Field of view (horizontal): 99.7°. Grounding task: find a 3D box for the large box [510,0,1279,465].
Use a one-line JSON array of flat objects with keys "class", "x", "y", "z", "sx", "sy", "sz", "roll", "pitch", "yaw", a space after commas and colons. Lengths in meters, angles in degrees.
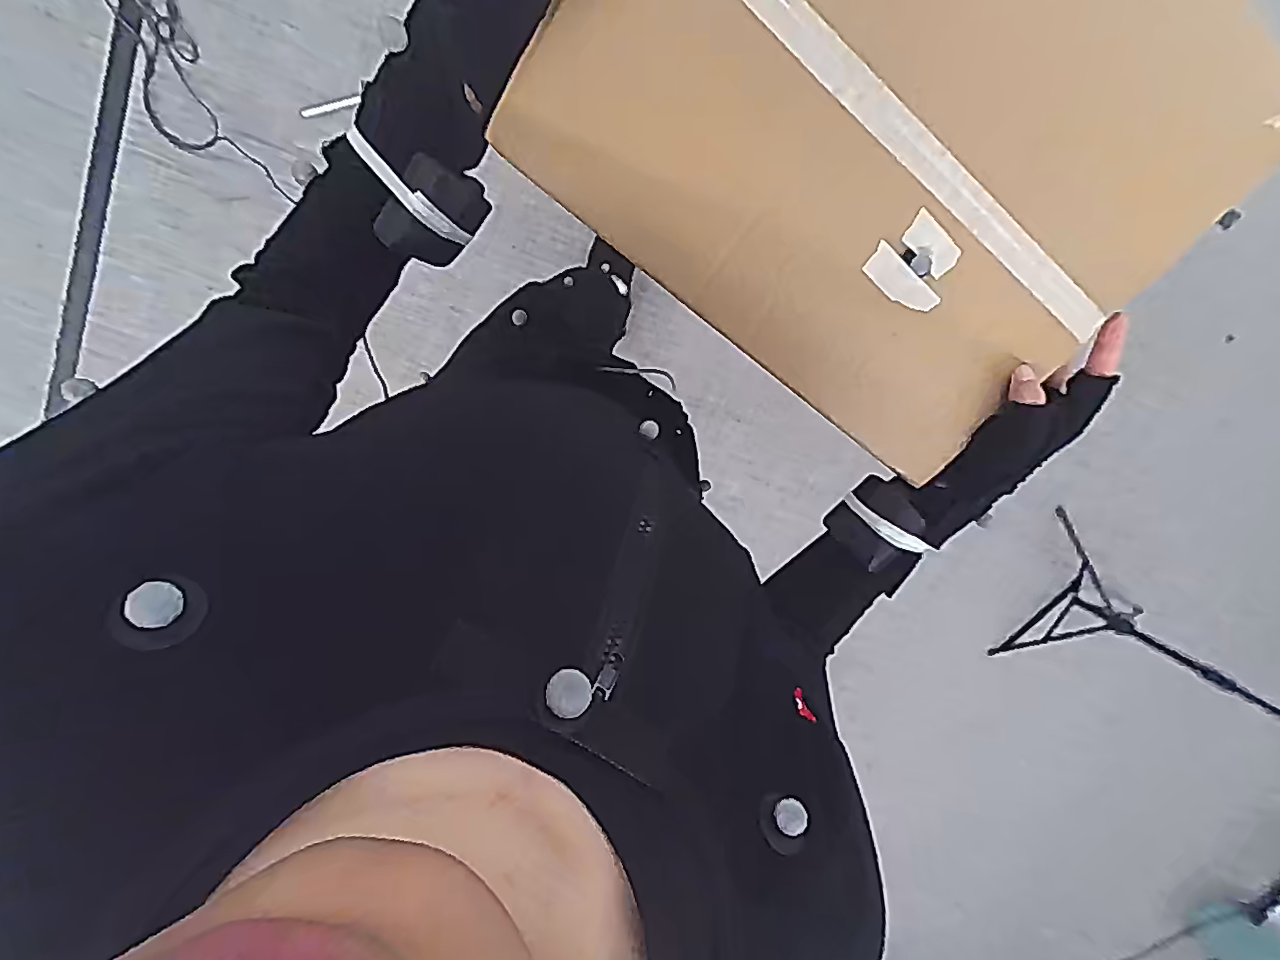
[{"class": "large box", "x": 0.161, "y": -0.290, "z": 0.477, "sx": 0.408, "sy": 0.320, "sz": 0.320, "roll": 34, "pitch": 113, "yaw": -16}]
